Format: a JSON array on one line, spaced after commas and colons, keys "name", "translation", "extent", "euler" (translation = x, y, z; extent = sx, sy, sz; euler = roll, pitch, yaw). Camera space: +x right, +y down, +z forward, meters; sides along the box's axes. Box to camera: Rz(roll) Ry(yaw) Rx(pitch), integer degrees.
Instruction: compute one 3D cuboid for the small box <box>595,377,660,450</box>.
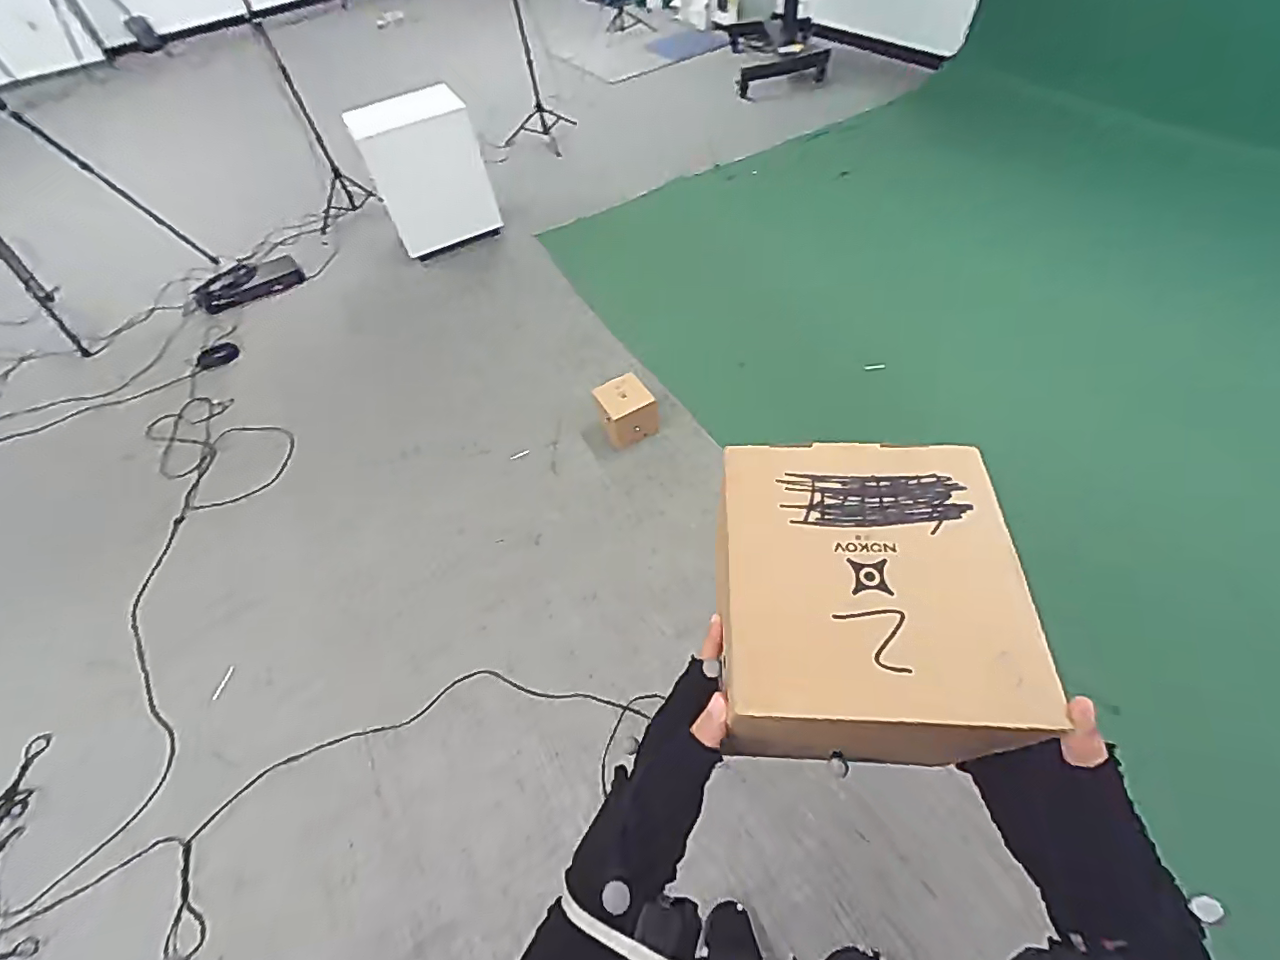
[{"name": "small box", "translation": [-0.039, -0.229, 1.920], "extent": [0.168, 0.176, 0.179], "euler": [-27, 55, -14]}]
